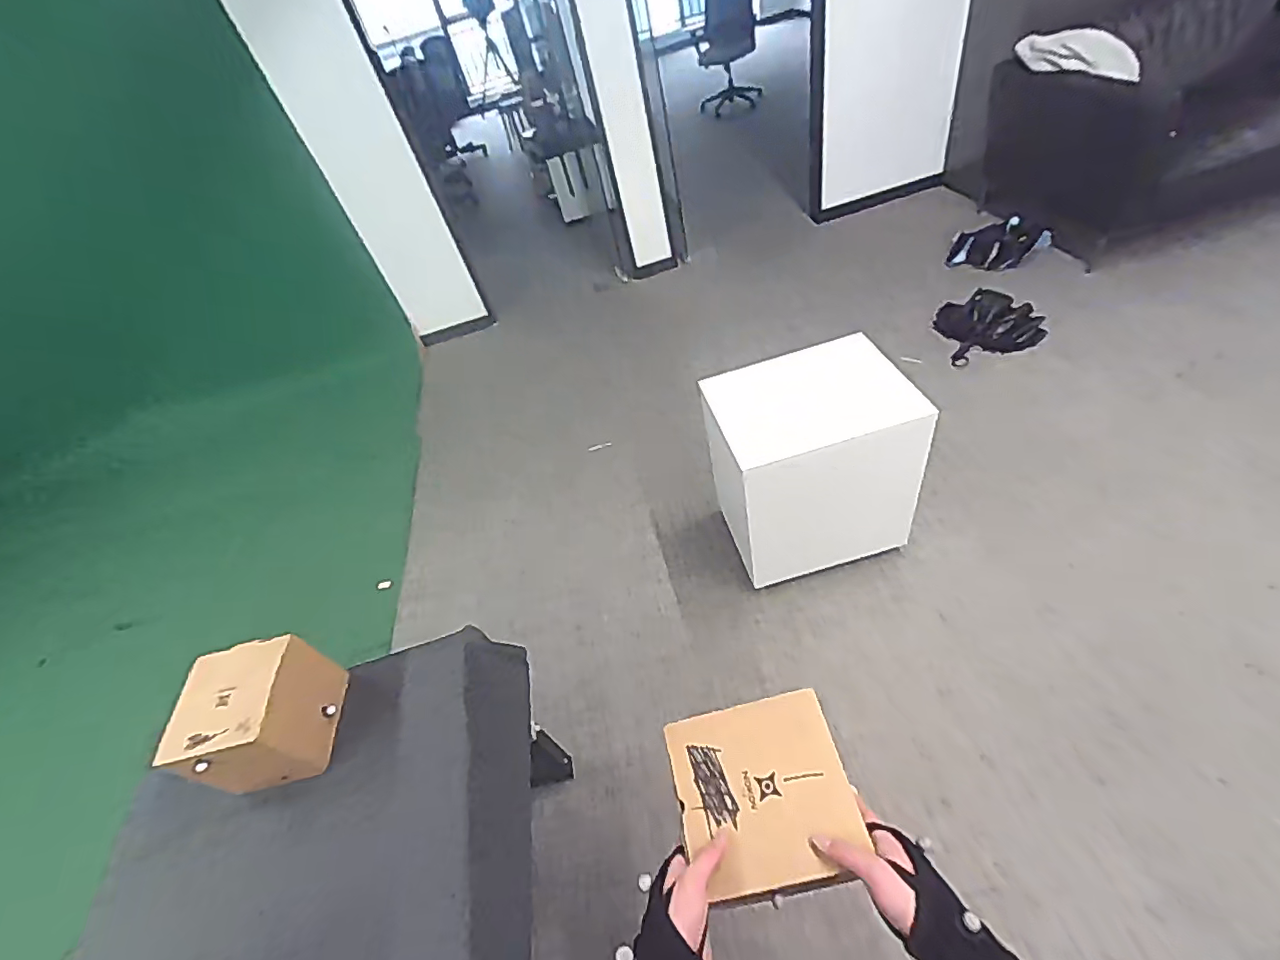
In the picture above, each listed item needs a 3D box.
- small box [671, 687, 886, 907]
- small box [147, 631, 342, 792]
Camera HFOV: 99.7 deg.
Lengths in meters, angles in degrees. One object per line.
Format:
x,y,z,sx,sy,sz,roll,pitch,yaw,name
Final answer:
0.147,0.357,0.601,0.179,0.176,0.168,-15,49,4,small box
-0.622,0.379,0.883,0.168,0.176,0.179,-14,46,2,small box
